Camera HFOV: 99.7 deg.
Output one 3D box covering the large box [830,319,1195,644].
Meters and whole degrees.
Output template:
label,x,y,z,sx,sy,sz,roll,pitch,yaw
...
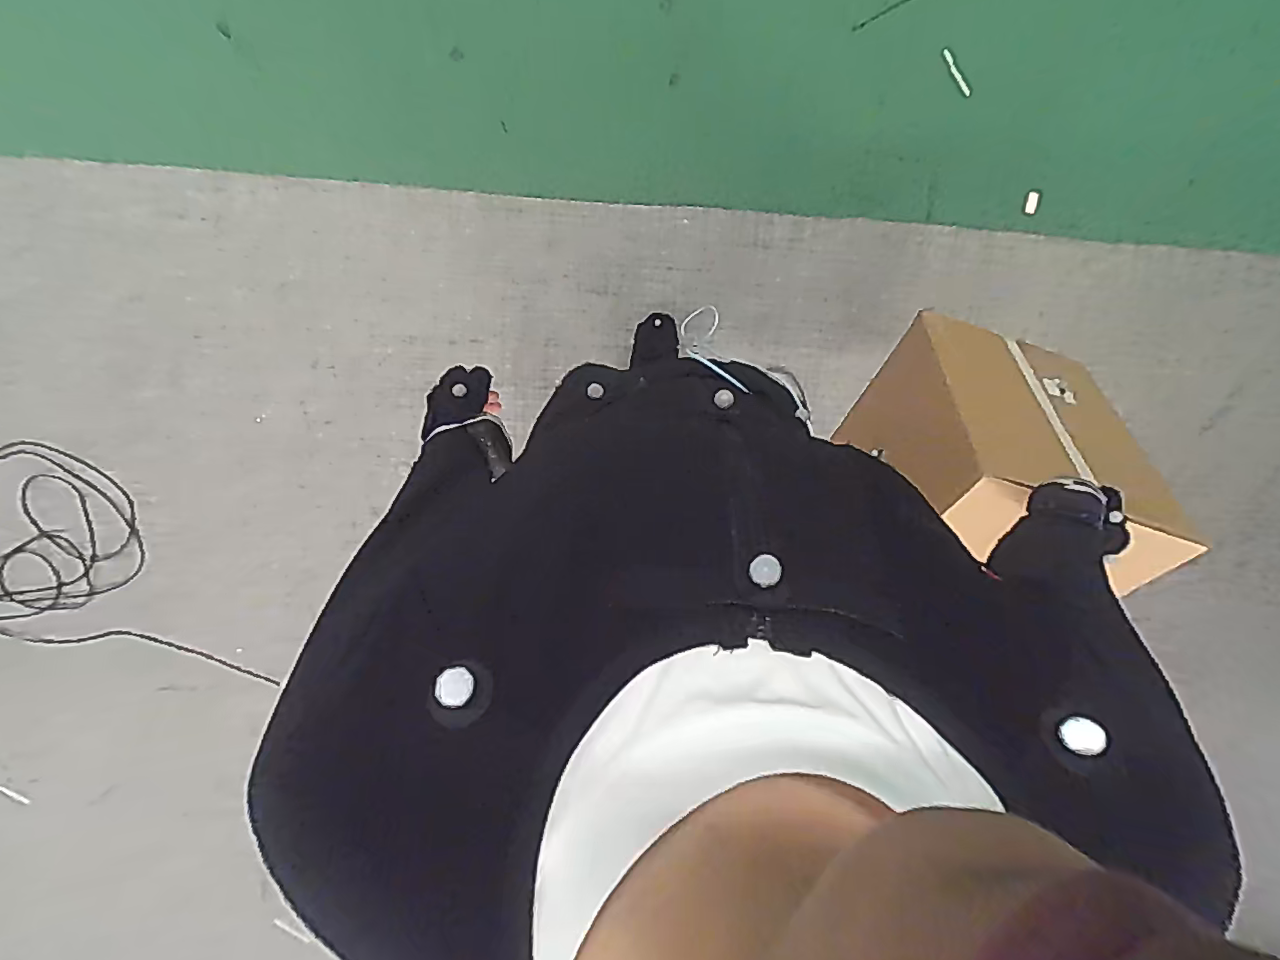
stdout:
label,x,y,z,sx,sy,sz,roll,pitch,yaw
large box,0.550,0.001,0.913,0.320,0.408,0.320,18,135,-5
